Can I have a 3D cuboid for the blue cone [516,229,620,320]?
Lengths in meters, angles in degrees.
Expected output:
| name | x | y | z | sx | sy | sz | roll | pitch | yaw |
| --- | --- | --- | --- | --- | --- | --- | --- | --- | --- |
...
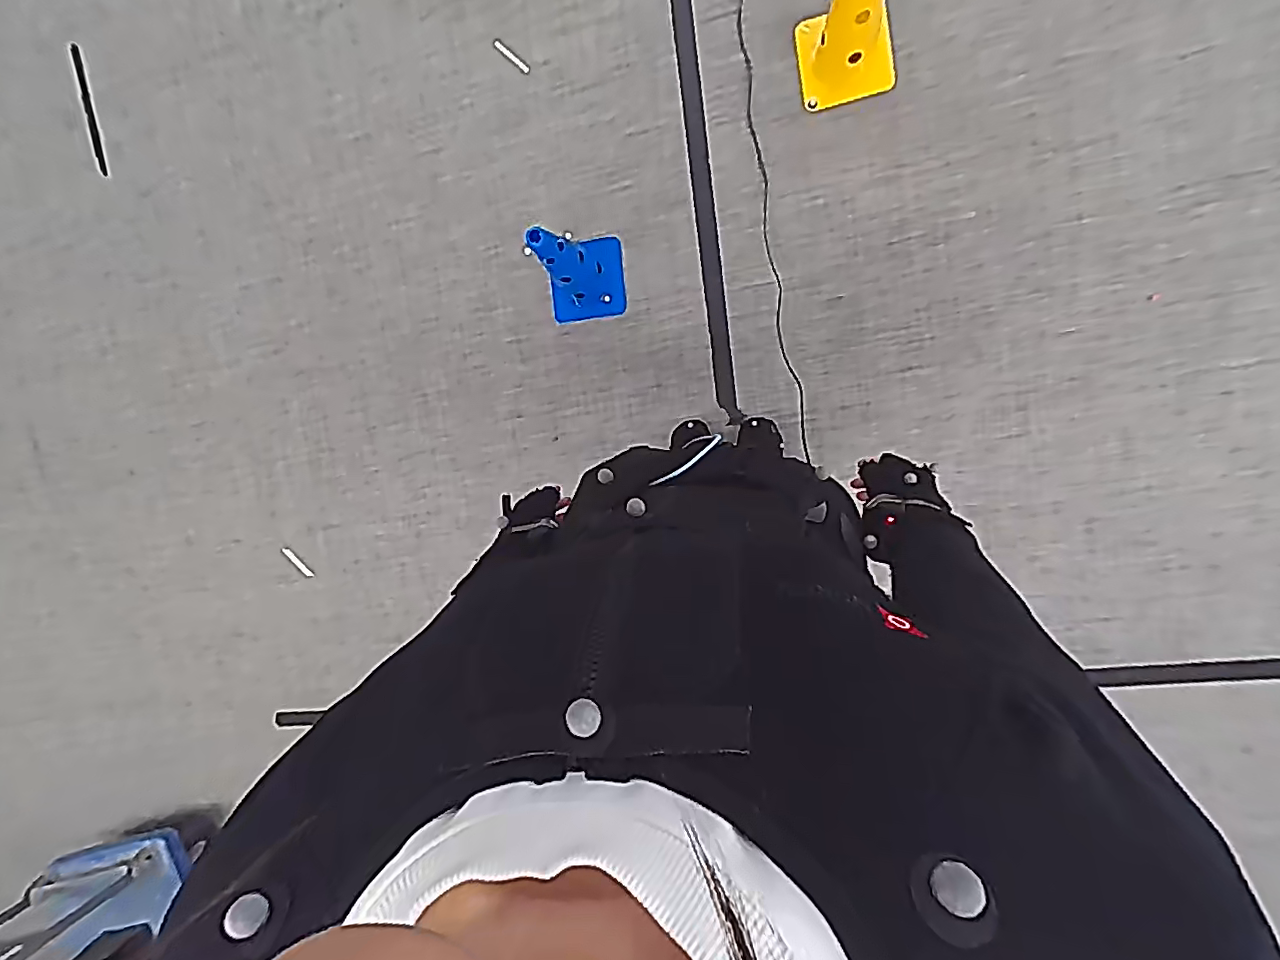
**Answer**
| name | x | y | z | sx | sy | sz | roll | pitch | yaw |
| --- | --- | --- | --- | --- | --- | --- | --- | --- | --- |
| blue cone | -0.183 | -0.509 | 1.263 | 0.192 | 0.380 | 0.193 | -3 | 96 | 13 |
